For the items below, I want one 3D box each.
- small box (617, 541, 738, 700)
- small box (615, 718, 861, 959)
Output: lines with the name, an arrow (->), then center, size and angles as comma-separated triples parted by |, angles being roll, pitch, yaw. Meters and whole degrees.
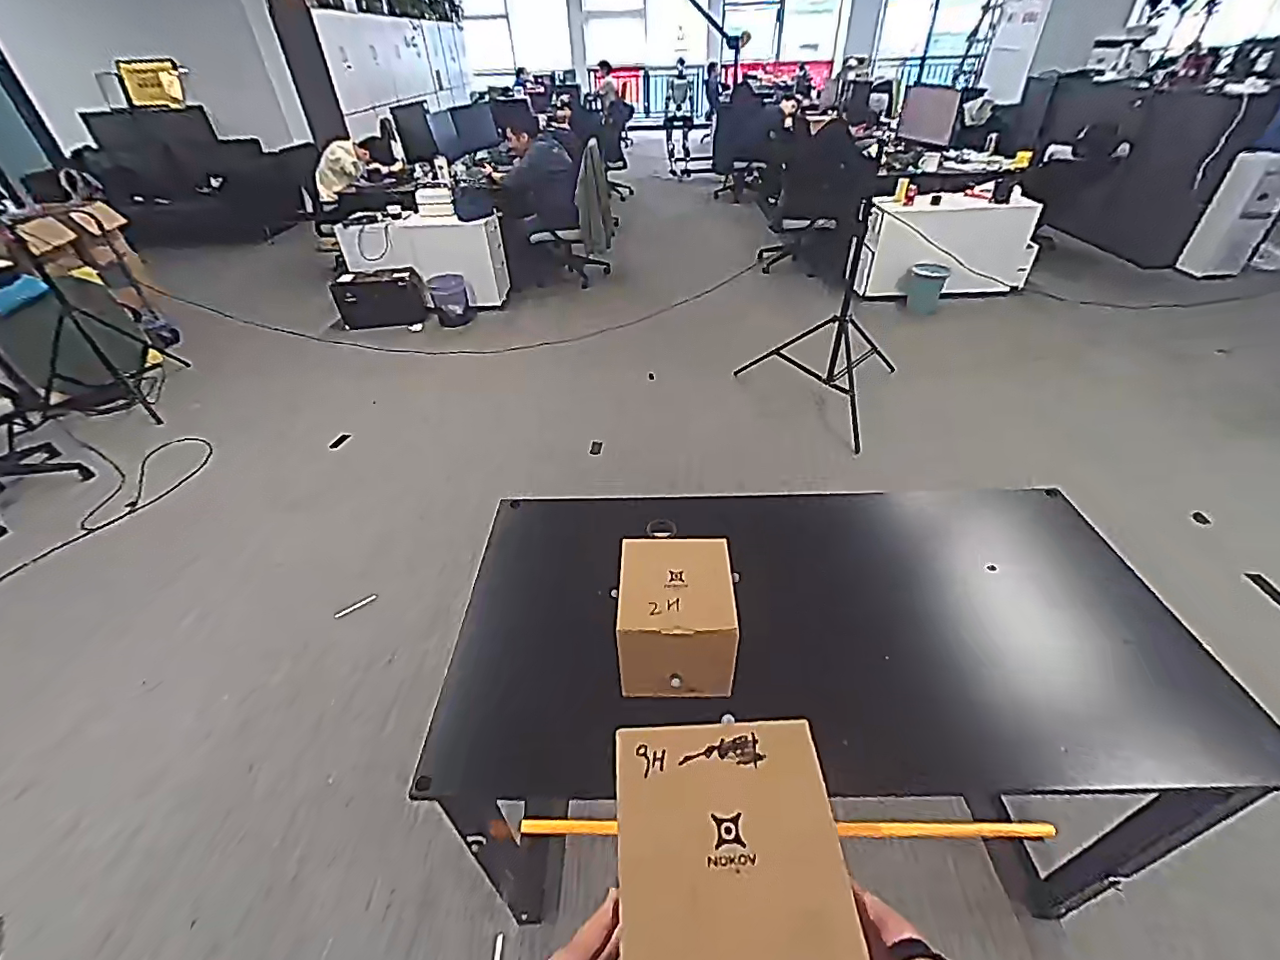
small box -> 0.055, 0.214, 0.837 | 0.168, 0.176, 0.179 | -1, 39, 2
small box -> 0.065, 0.325, 0.461 | 0.168, 0.176, 0.179 | -2, 47, -2
